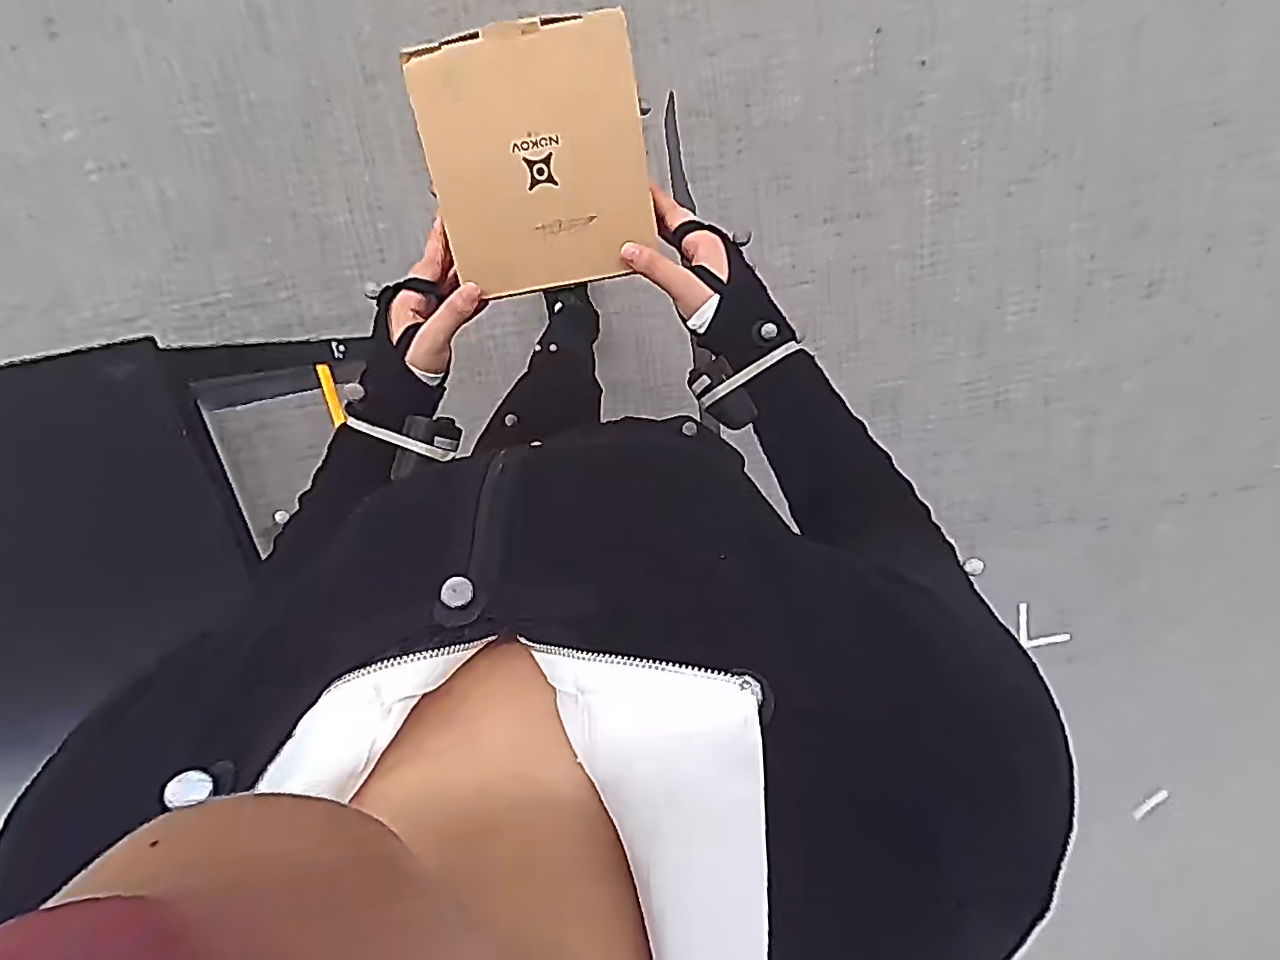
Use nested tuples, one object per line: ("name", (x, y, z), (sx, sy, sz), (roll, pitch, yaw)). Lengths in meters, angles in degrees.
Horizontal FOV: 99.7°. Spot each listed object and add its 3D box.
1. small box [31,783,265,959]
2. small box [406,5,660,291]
("small box", (-0.704, 0.585, 0.806), (0.179, 0.176, 0.168), (-9, 106, 1))
("small box", (-0.080, -0.274, 0.489), (0.168, 0.176, 0.179), (-9, 111, 1))
